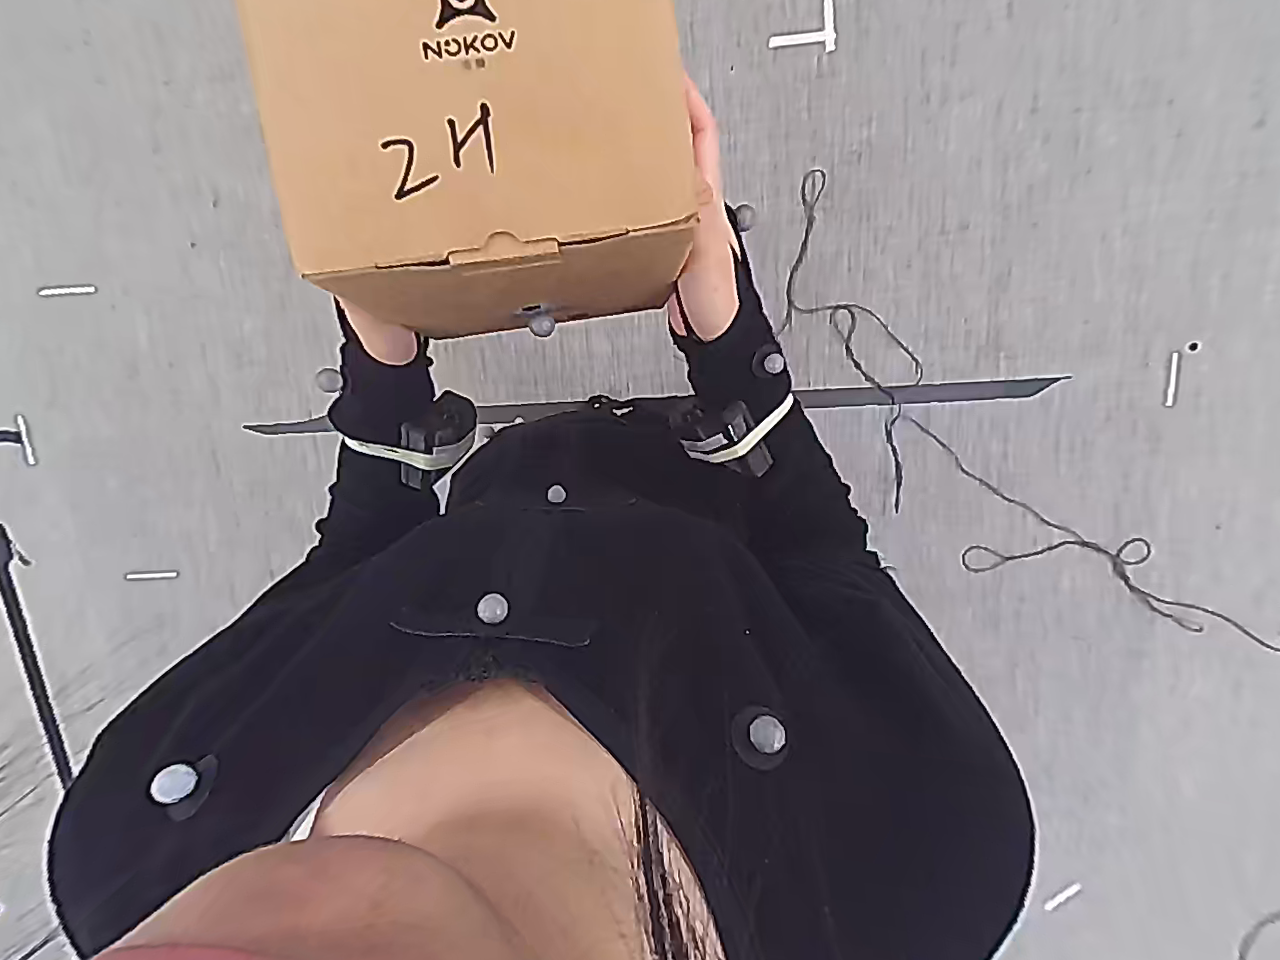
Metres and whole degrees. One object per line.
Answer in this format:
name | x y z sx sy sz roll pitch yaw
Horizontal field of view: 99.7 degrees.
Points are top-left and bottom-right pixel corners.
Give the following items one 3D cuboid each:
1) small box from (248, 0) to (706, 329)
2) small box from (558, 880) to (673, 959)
small box | -0.069 -0.191 0.287 0.168 0.176 0.179 -9 97 -2
small box | -0.034 0.749 0.812 0.168 0.176 0.179 -1 100 -1
